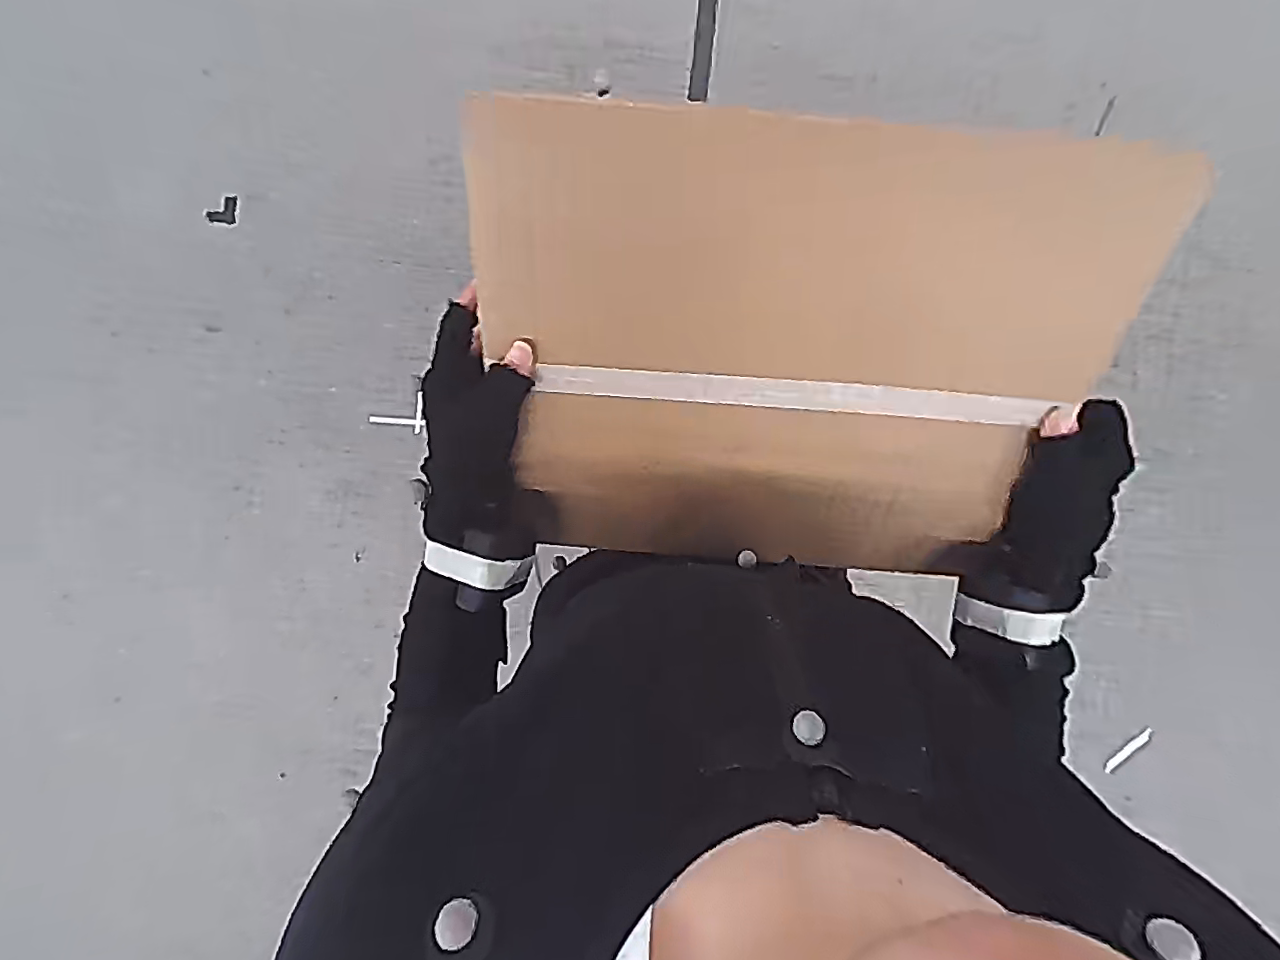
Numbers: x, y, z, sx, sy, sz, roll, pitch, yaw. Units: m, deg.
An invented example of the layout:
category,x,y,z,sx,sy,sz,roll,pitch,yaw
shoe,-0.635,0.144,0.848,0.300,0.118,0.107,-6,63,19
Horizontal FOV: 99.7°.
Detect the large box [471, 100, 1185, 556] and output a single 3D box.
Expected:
category,x,y,z,sx,sy,sz,roll,pitch,yaw
large box,0.100,-0.155,0.504,0.408,0.320,0.320,4,126,0
